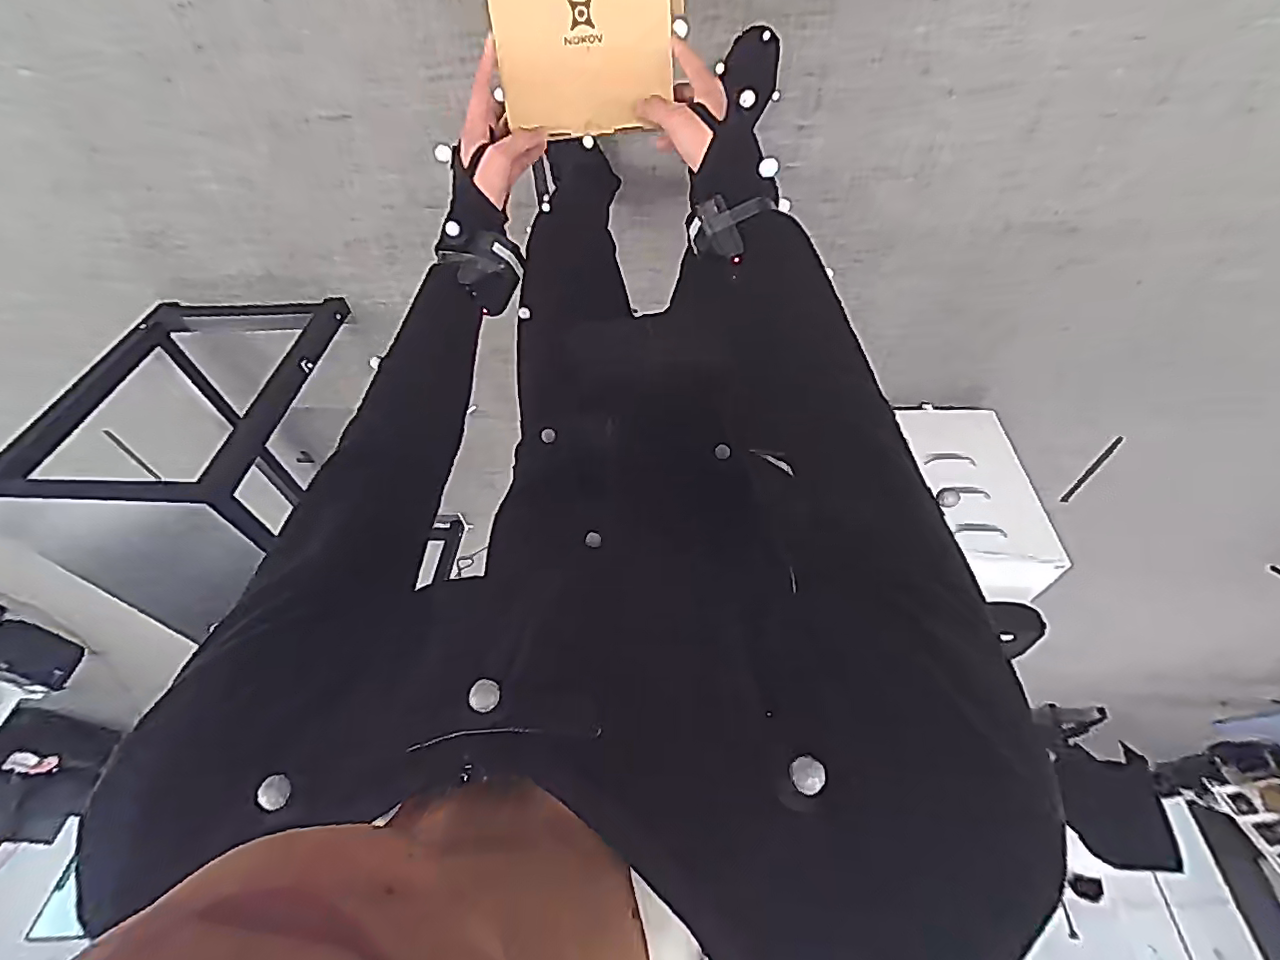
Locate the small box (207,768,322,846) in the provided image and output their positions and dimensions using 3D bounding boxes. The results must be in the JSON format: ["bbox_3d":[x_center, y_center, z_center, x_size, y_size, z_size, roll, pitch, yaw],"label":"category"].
[{"bbox_3d":[-1.051,0.923,1.531,0.179,0.176,0.168,0,142,5],"label":"small box"}]

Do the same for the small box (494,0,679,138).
[{"bbox_3d":[-0.050,-0.457,0.552,0.168,0.176,0.179,-4,123,2],"label":"small box"}]
